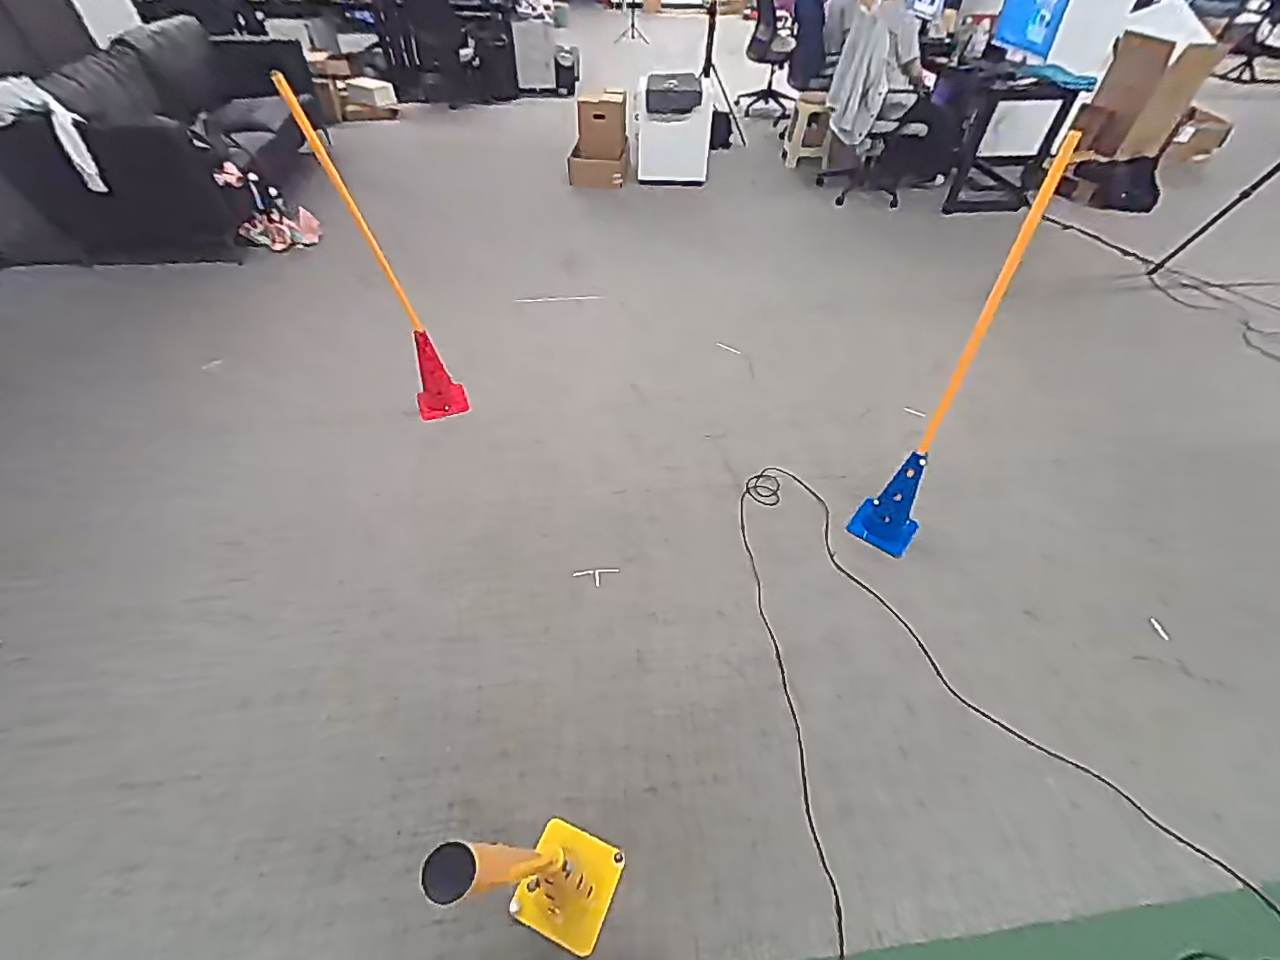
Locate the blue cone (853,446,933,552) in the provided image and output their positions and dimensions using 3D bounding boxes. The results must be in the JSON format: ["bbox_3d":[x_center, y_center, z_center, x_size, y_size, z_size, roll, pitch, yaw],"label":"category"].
[{"bbox_3d":[0.860,0.038,1.778,0.192,0.380,0.193,30,51,25],"label":"blue cone"}]
